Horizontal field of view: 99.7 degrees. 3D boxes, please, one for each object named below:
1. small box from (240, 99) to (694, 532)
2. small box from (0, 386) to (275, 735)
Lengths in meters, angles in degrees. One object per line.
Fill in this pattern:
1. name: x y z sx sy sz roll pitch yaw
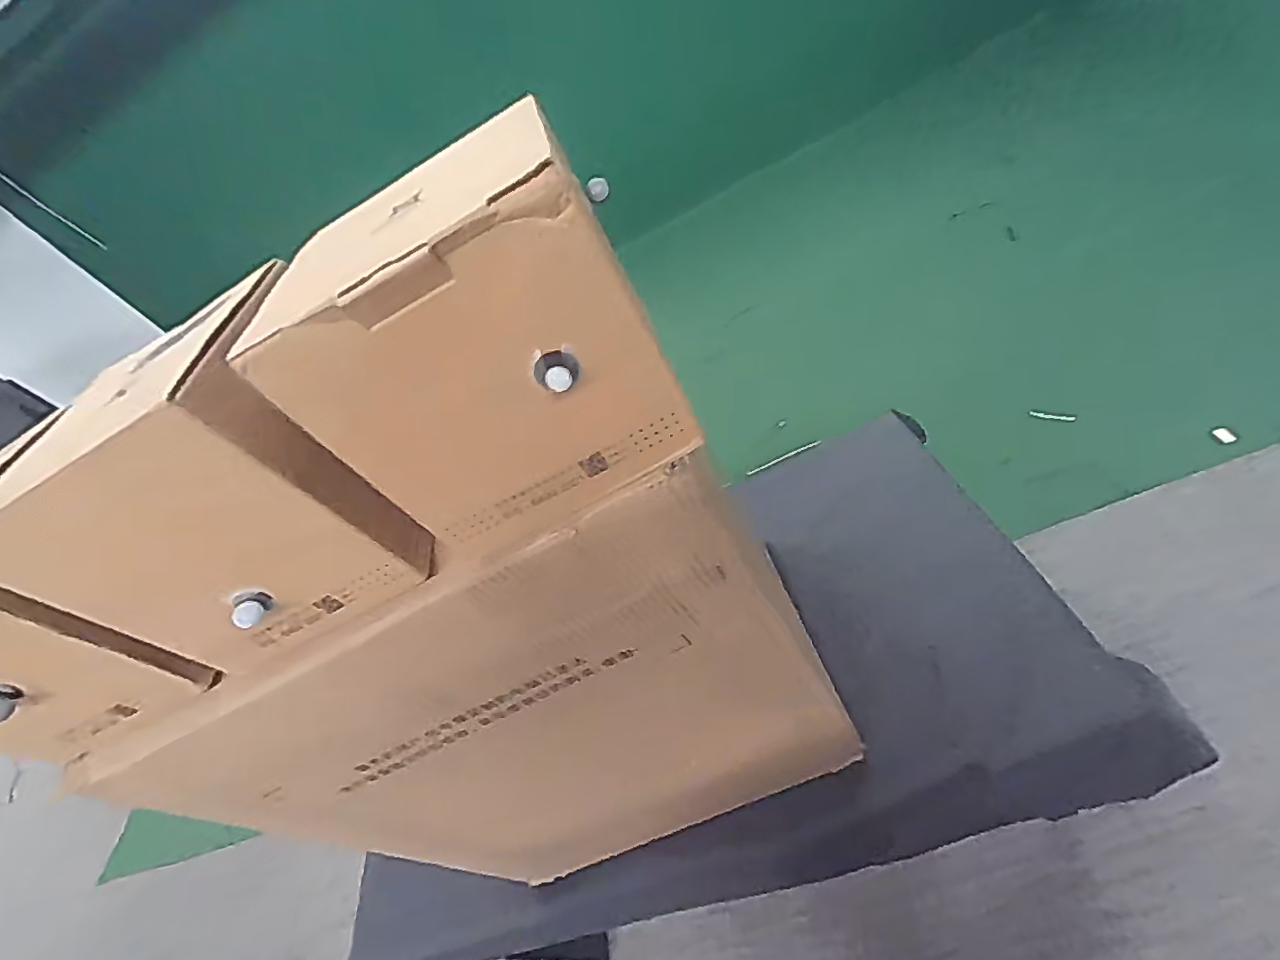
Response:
1. small box: -0.083 -0.090 0.333 0.168 0.176 0.179 -25 42 7
2. small box: -0.423 0.070 0.407 0.168 0.176 0.179 -27 43 11
